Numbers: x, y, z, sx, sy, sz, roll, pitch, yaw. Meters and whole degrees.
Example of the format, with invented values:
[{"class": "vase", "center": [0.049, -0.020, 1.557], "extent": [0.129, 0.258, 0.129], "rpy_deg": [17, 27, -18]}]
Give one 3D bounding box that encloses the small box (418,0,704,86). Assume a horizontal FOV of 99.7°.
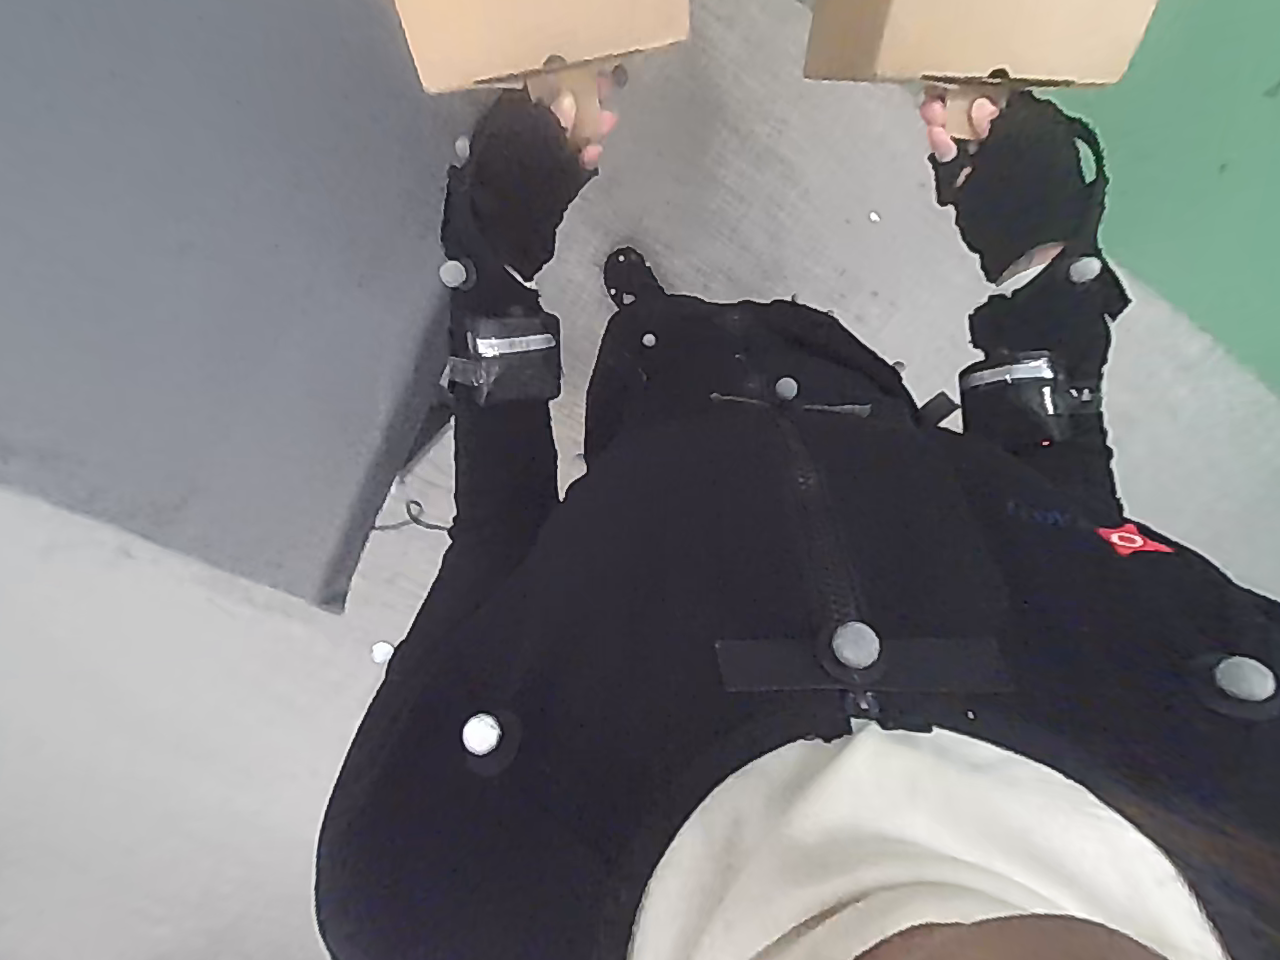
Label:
[{"class": "small box", "center": [-0.053, -0.368, 0.337], "extent": [0.168, 0.176, 0.179], "rpy_deg": [-7, 127, 4]}]
